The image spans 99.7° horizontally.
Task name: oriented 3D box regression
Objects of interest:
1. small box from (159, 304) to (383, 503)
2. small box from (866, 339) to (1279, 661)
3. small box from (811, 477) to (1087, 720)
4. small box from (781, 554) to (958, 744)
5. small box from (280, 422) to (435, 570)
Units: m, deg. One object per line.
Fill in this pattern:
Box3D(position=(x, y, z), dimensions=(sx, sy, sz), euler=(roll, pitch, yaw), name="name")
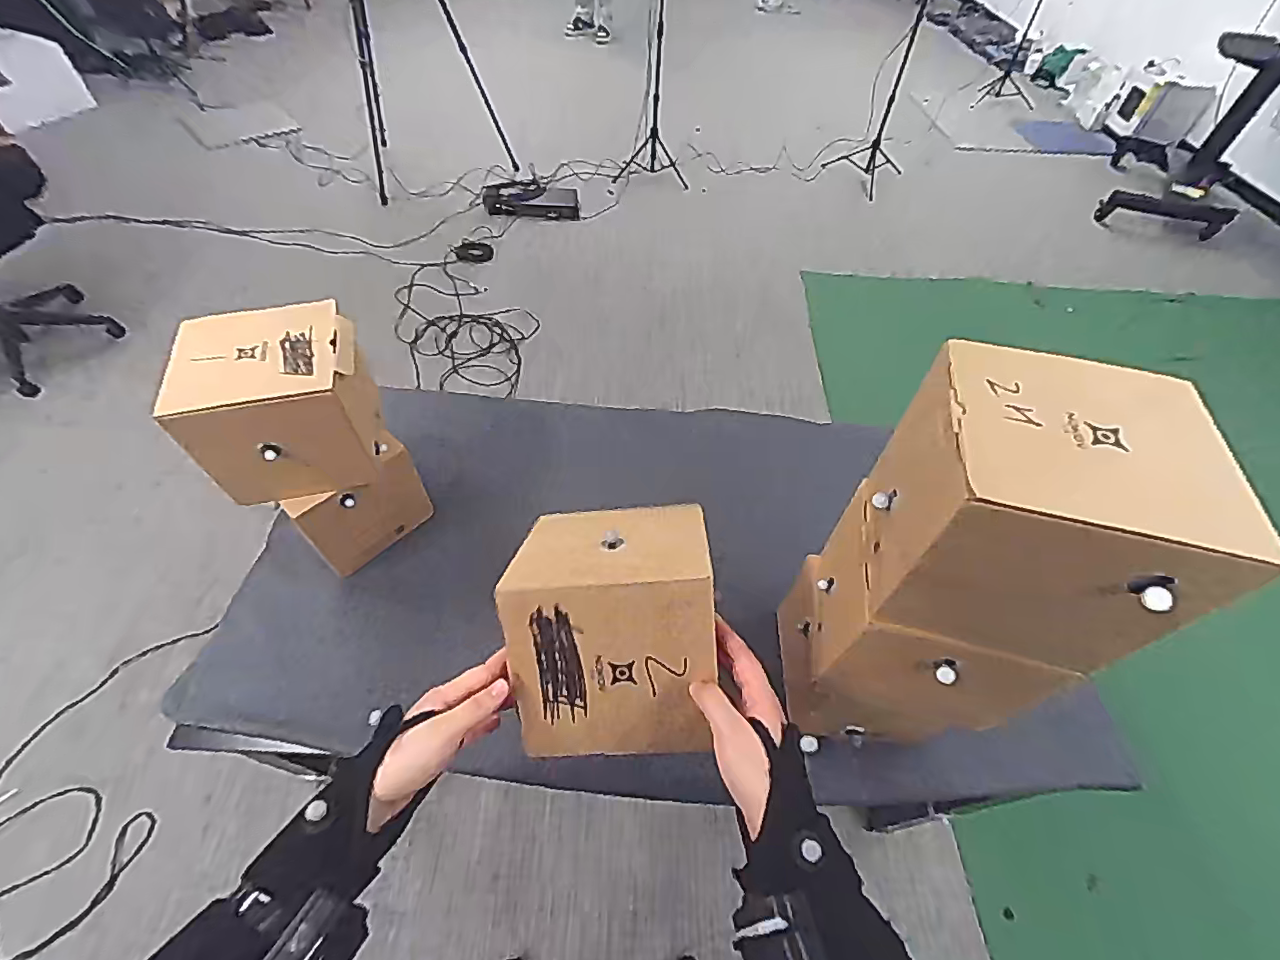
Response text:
Box3D(position=(-0.437, -0.094, 0.681), dimensions=(0.179, 0.176, 0.168), euler=(-12, 55, -11), name="small box")
Box3D(position=(0.296, 0.021, 0.420), dimensions=(0.179, 0.176, 0.168), euler=(13, 51, 9), name="small box")
Box3D(position=(0.288, 0.125, 0.548), dimensions=(0.179, 0.176, 0.168), euler=(11, 52, 8), name="small box")
Box3D(position=(0.284, 0.215, 0.683), dimensions=(0.168, 0.176, 0.179), euler=(3, 52, 1), name="small box")
Box3D(position=(-0.443, 0.003, 0.814), dimensions=(0.179, 0.176, 0.168), euler=(37, 60, 23), name="small box")
